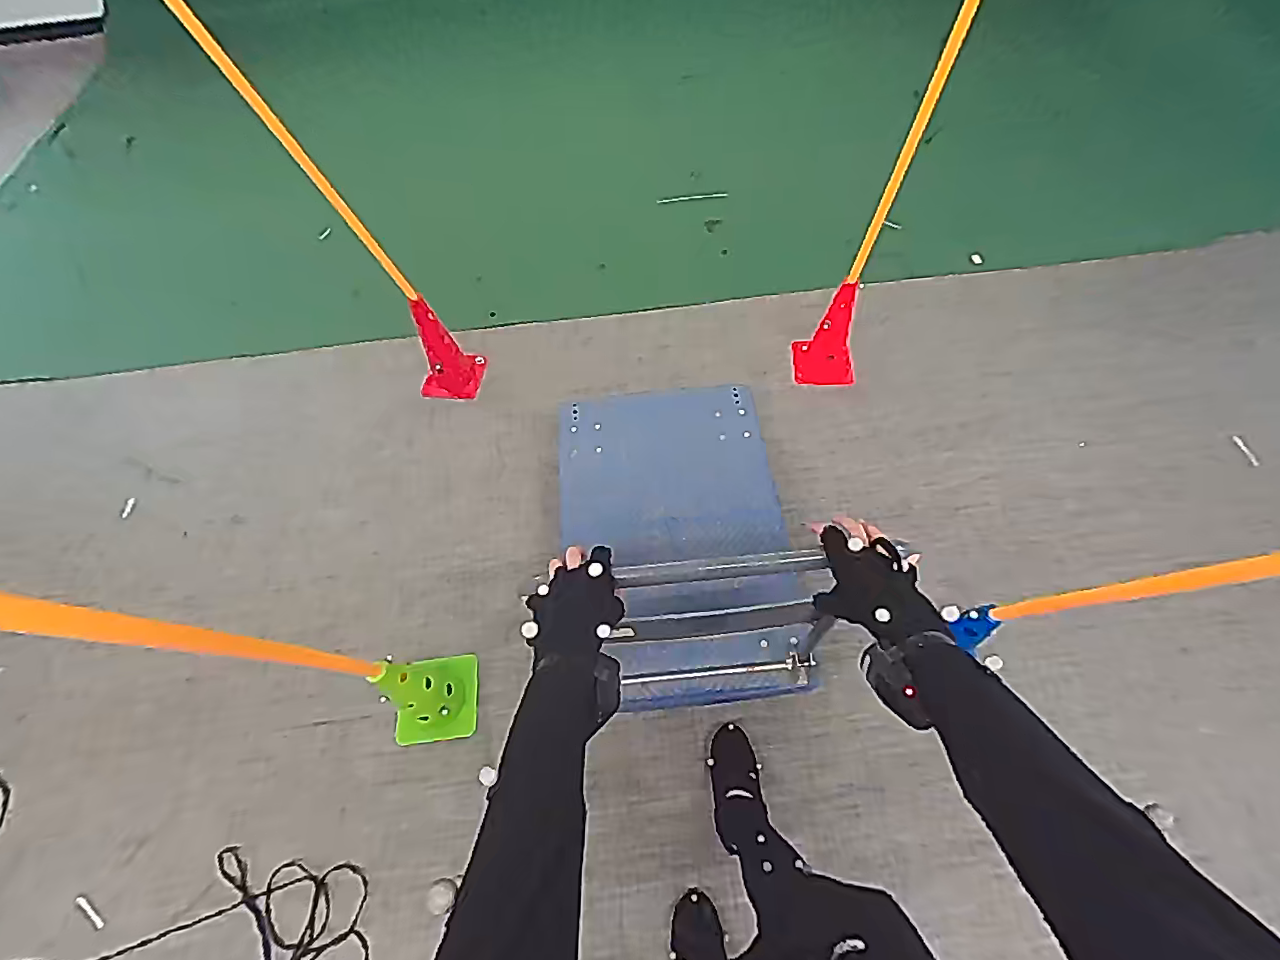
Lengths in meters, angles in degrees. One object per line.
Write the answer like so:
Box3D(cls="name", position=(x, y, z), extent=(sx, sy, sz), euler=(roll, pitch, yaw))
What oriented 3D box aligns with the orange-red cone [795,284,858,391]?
Box3D(cls="orange-red cone", position=(0.630, -0.471, 1.732), extent=(0.198, 0.360, 0.199), euler=(3, 61, 6))
